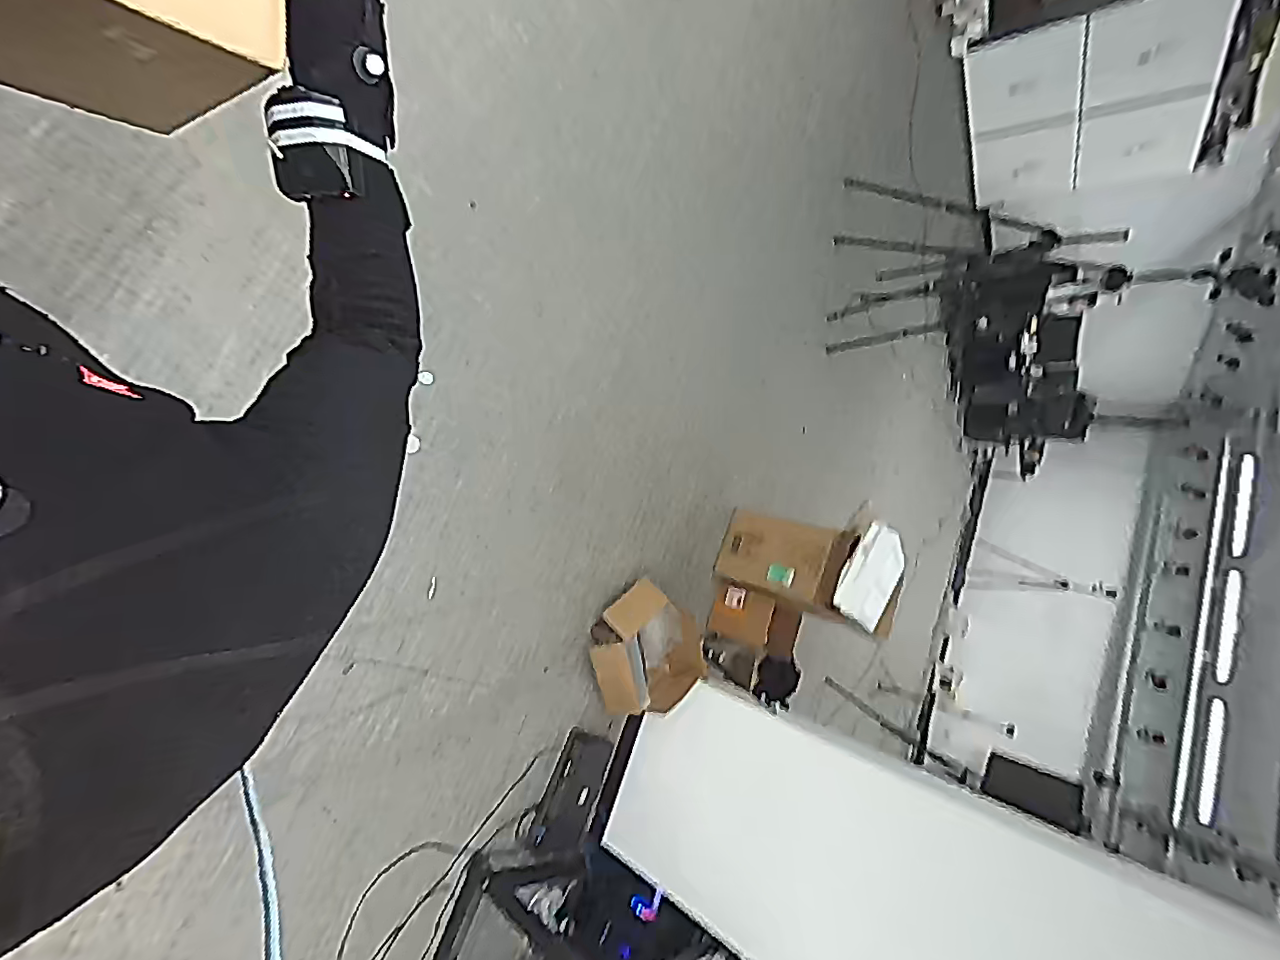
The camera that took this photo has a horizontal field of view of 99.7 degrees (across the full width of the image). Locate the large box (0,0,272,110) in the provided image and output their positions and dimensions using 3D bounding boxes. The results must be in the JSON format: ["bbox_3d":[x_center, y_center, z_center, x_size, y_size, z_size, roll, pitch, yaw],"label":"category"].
[{"bbox_3d":[-0.481,-0.456,0.272,0.408,0.320,0.320,-12,113,-52],"label":"large box"}]
